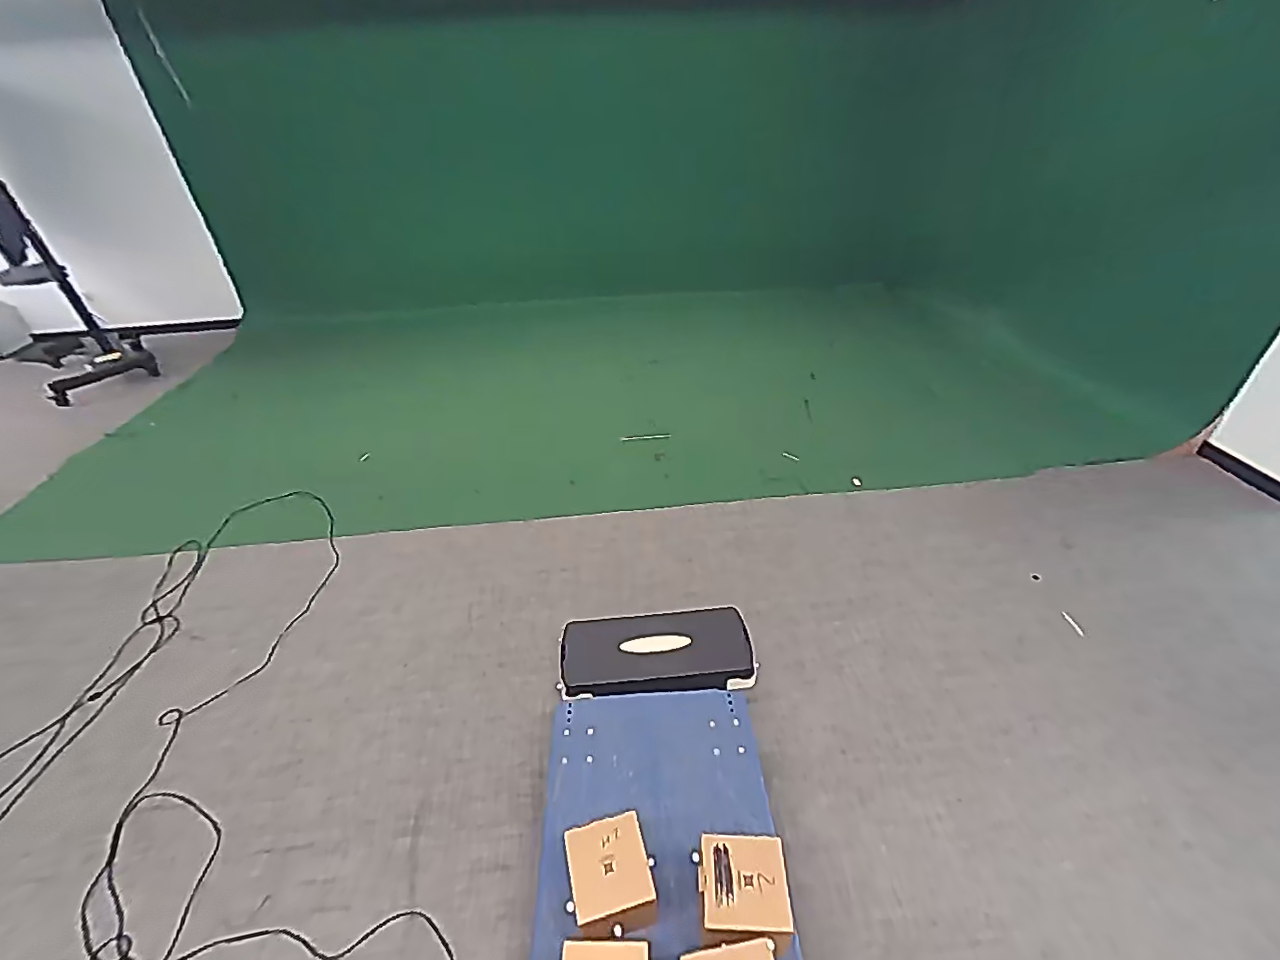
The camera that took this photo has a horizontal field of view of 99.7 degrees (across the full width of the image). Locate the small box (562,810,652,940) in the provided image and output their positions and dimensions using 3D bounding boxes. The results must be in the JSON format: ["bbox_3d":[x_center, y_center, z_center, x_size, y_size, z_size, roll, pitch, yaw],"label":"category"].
[{"bbox_3d":[-0.072,0.874,1.191,0.168,0.176,0.179,-9,37,-12],"label":"small box"}]
